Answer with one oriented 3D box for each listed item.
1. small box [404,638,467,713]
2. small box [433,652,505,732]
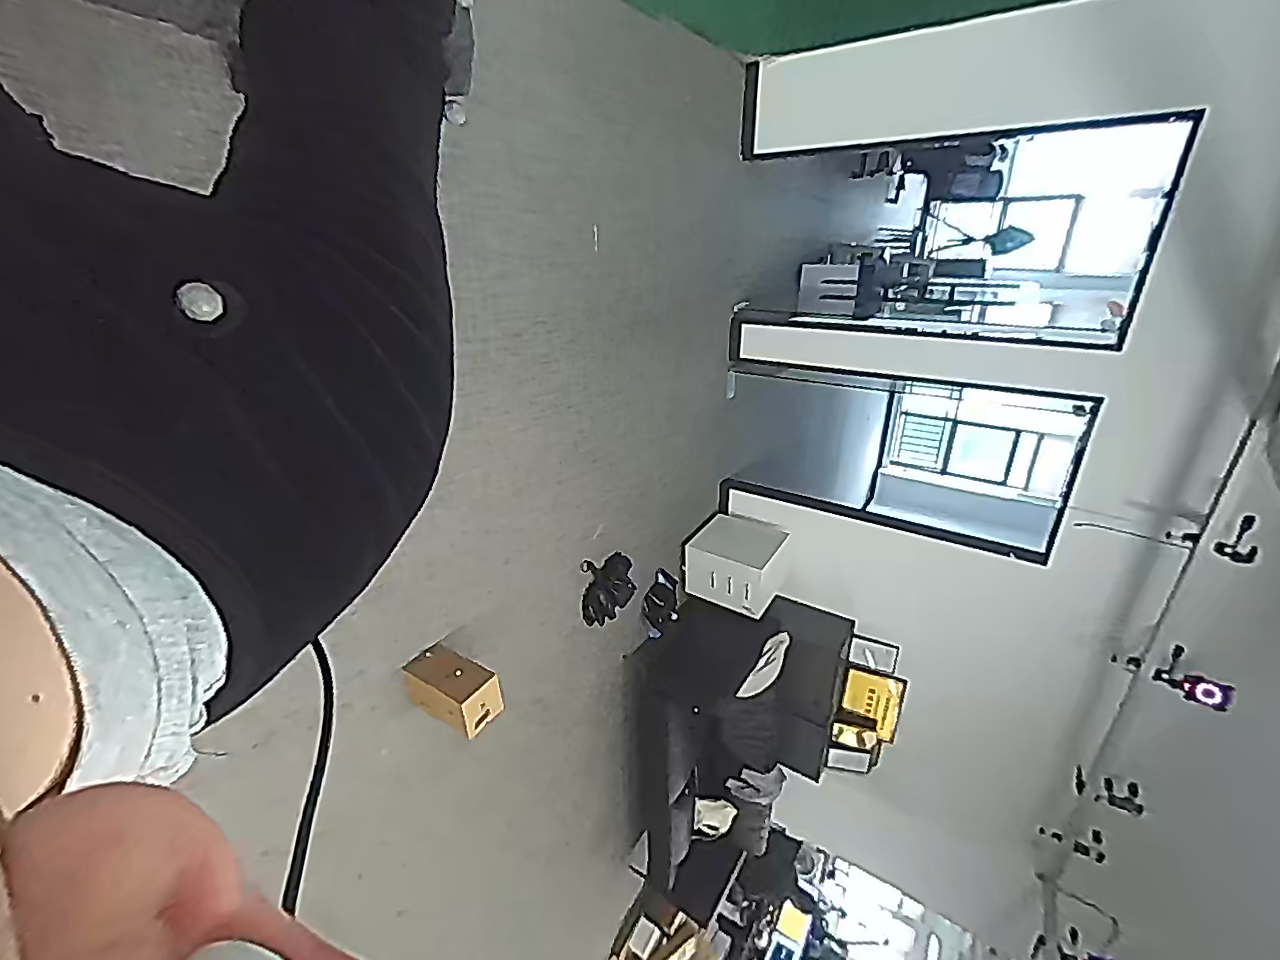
[{"bbox_3d":[-0.755,0.729,2.034,0.168,0.176,0.179,-36,131,-49],"label":"small box"},{"bbox_3d":[-0.616,0.759,1.950,0.168,0.176,0.179,-36,132,-48],"label":"small box"}]
